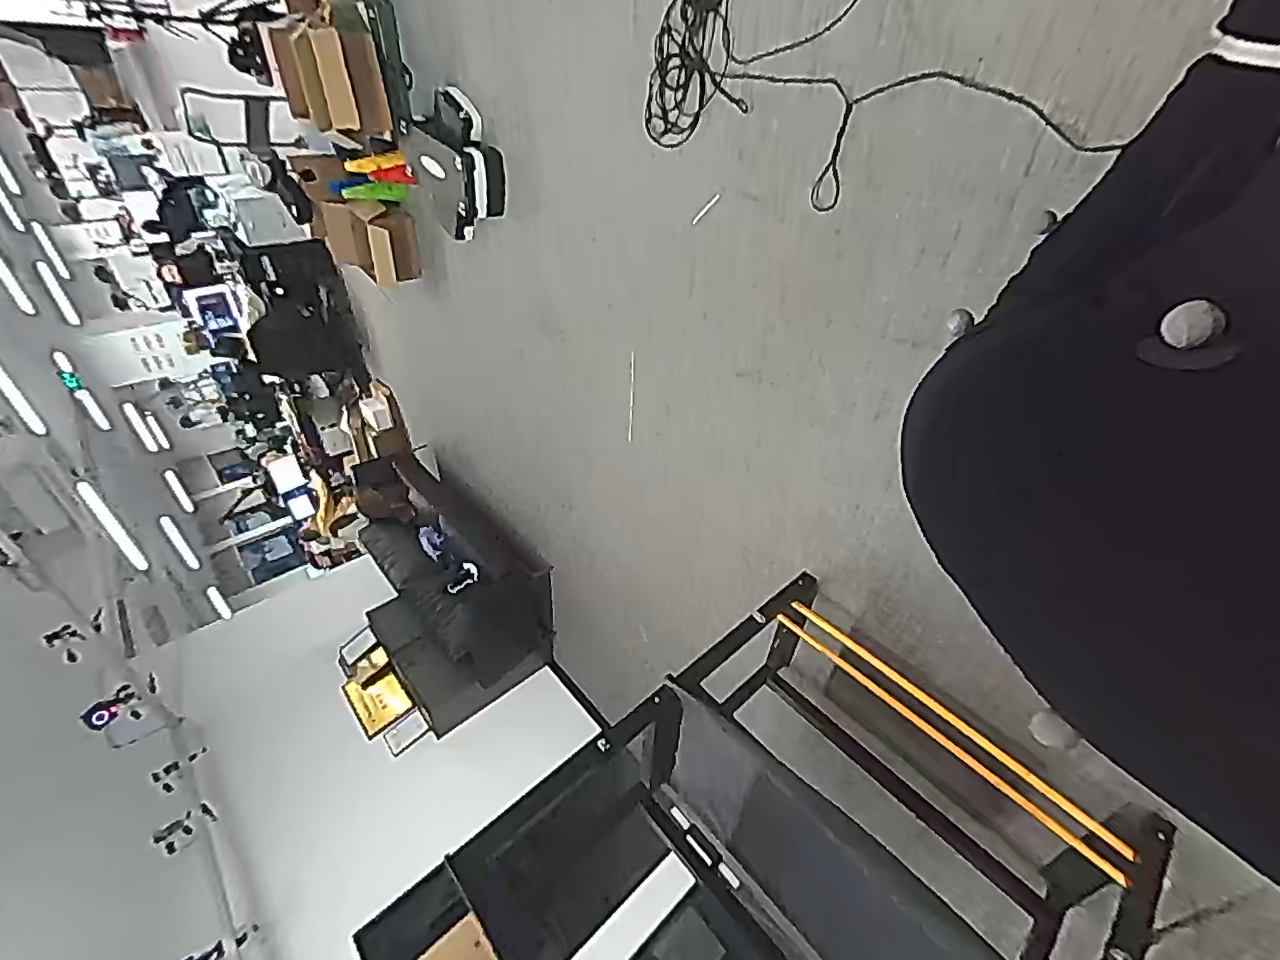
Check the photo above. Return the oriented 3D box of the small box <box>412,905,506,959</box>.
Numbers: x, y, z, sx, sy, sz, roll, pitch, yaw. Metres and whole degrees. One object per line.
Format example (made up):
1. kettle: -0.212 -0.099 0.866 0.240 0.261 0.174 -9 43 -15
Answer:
1. small box: -0.404 1.136 1.245 0.168 0.176 0.179 40 140 30
